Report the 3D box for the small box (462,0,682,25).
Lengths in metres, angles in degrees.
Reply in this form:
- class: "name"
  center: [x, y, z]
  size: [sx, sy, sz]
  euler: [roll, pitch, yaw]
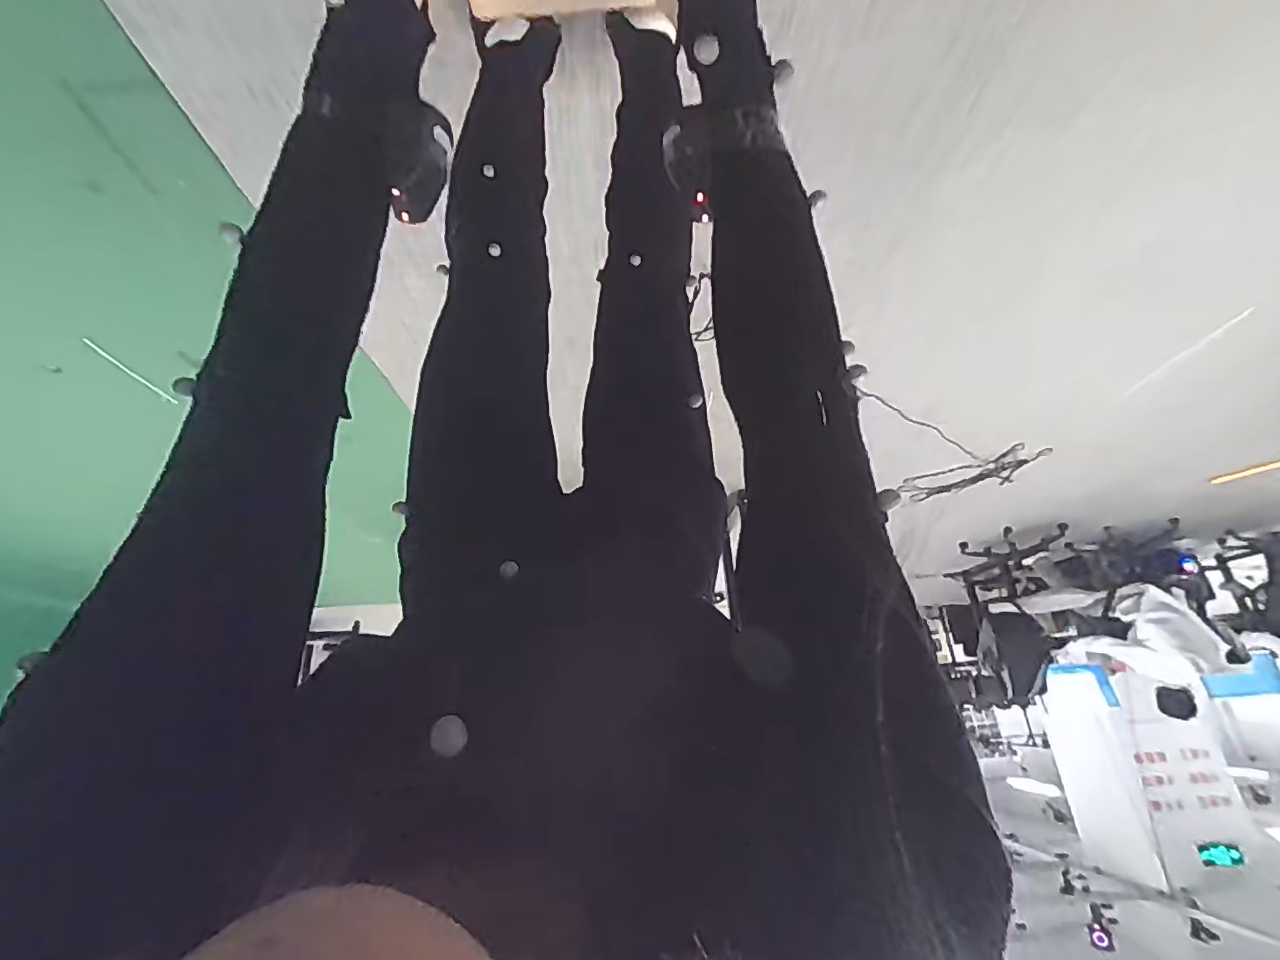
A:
- class: "small box"
  center: [-0.059, -0.476, 0.392]
  size: [0.179, 0.176, 0.168]
  euler: [-6, 160, -4]
